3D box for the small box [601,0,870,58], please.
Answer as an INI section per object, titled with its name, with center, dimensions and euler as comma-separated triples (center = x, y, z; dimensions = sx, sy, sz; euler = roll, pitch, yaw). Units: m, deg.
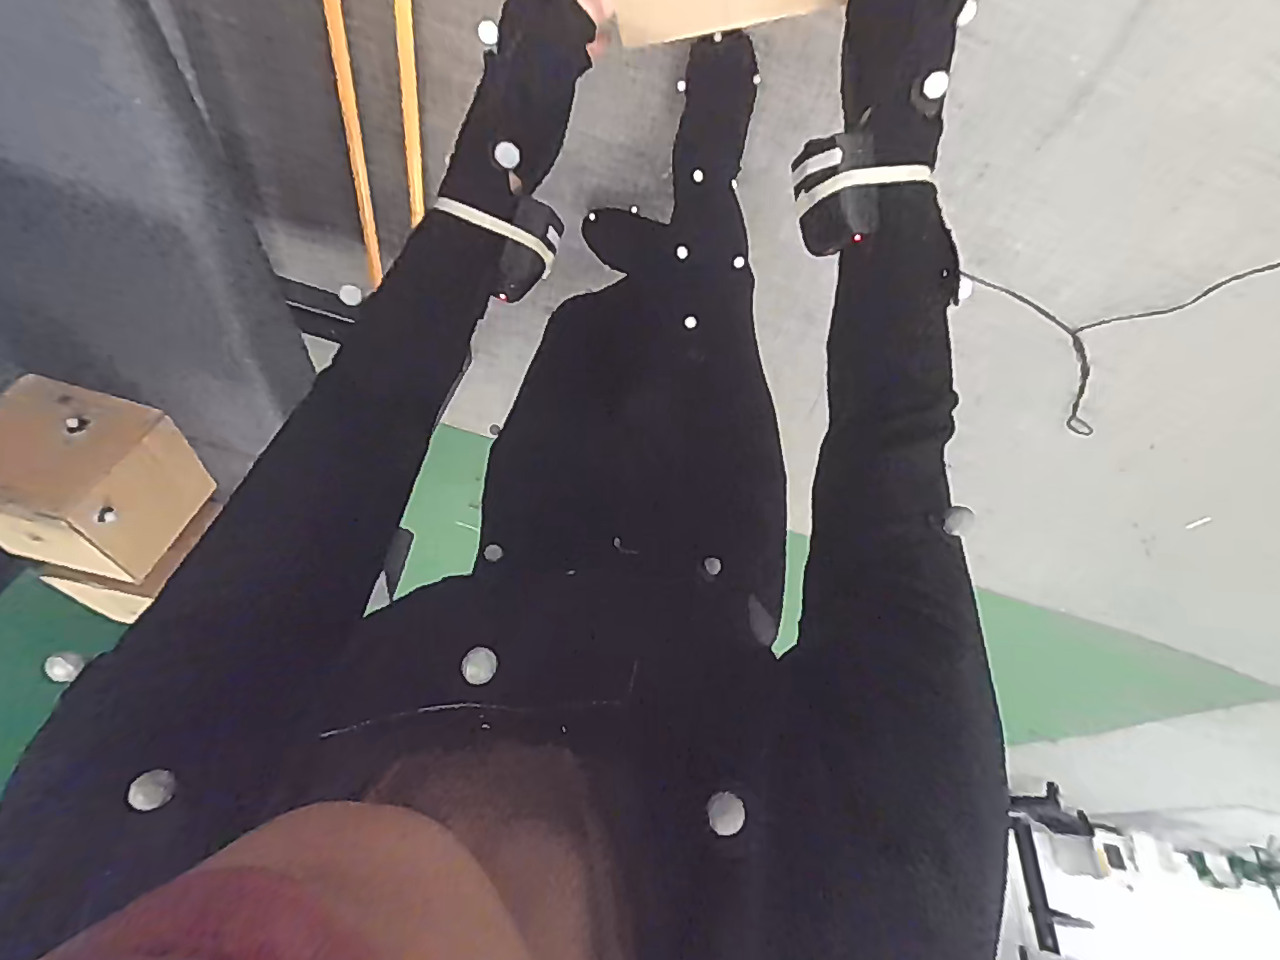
[small box]
center = 0.059, -0.414, 0.344
dimensions = 0.179, 0.176, 0.168
euler = 1, 147, 16
